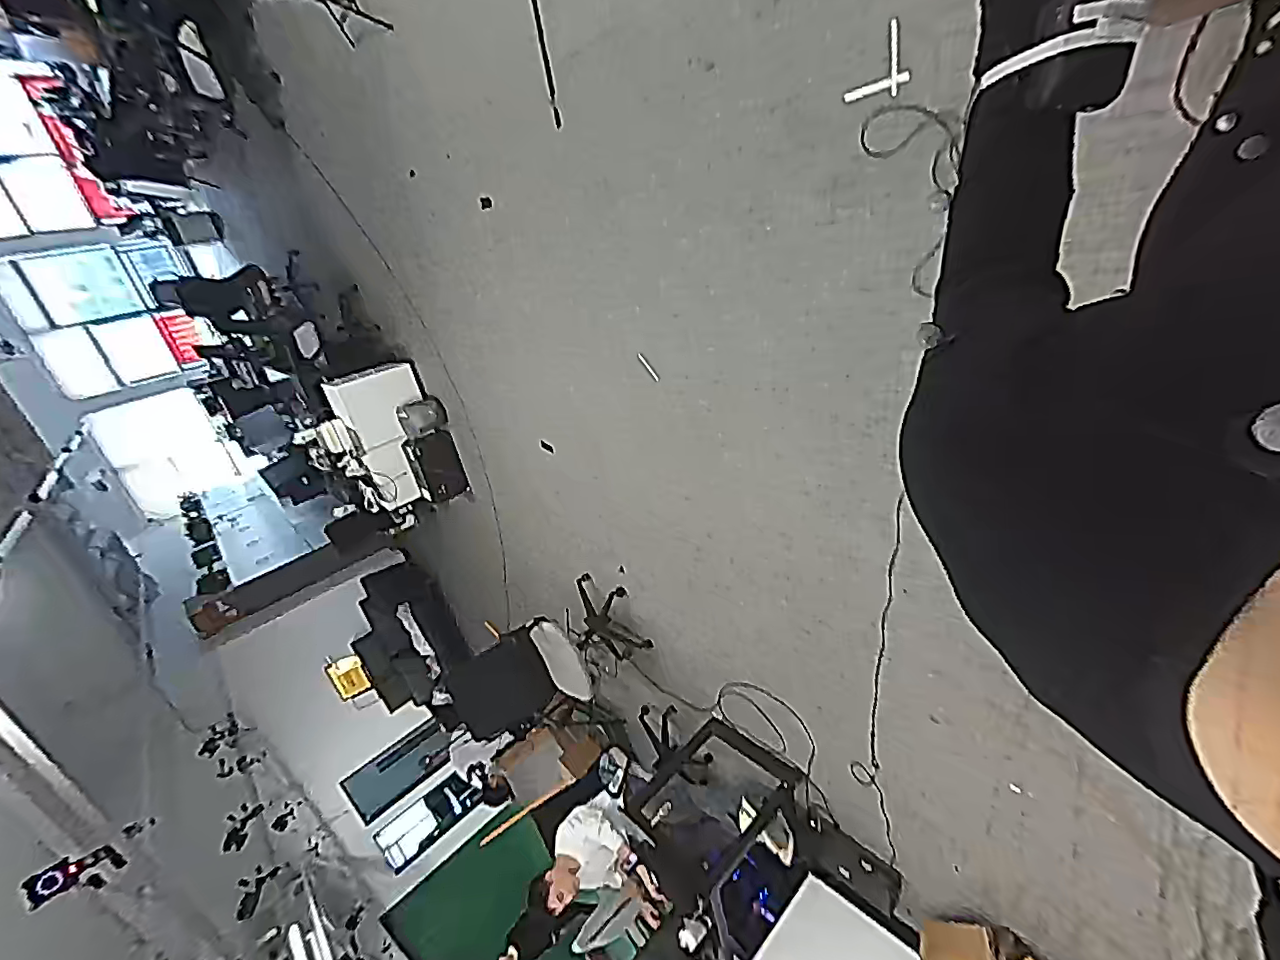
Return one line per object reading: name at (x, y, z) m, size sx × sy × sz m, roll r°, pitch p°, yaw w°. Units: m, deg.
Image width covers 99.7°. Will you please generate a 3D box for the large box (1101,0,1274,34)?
large box at (0.512, -0.492, 0.257) m, size 0.408 × 0.320 × 0.320 m, roll 11°, pitch 124°, yaw 46°
